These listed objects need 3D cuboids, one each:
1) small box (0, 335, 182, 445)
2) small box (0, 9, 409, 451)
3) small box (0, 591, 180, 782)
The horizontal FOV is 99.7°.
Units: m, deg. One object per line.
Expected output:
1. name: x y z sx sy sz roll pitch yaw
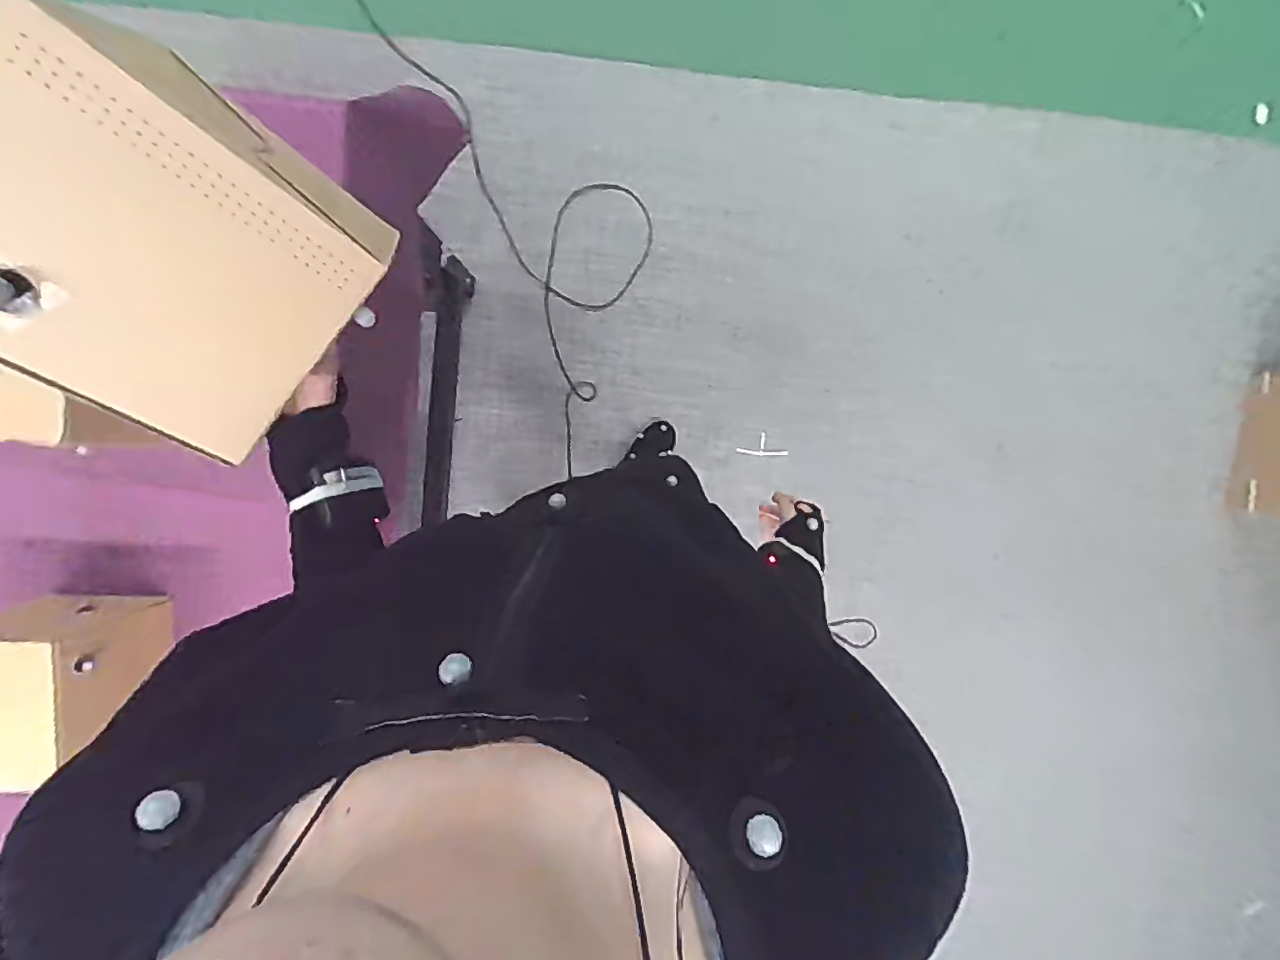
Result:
1. small box: -0.697 -0.141 0.661 0.168 0.176 0.179 7 93 -3
2. small box: -0.280 -0.158 0.355 0.176 0.168 0.179 -46 126 12
3. small box: -0.736 0.253 0.692 0.168 0.176 0.179 1 94 -2
